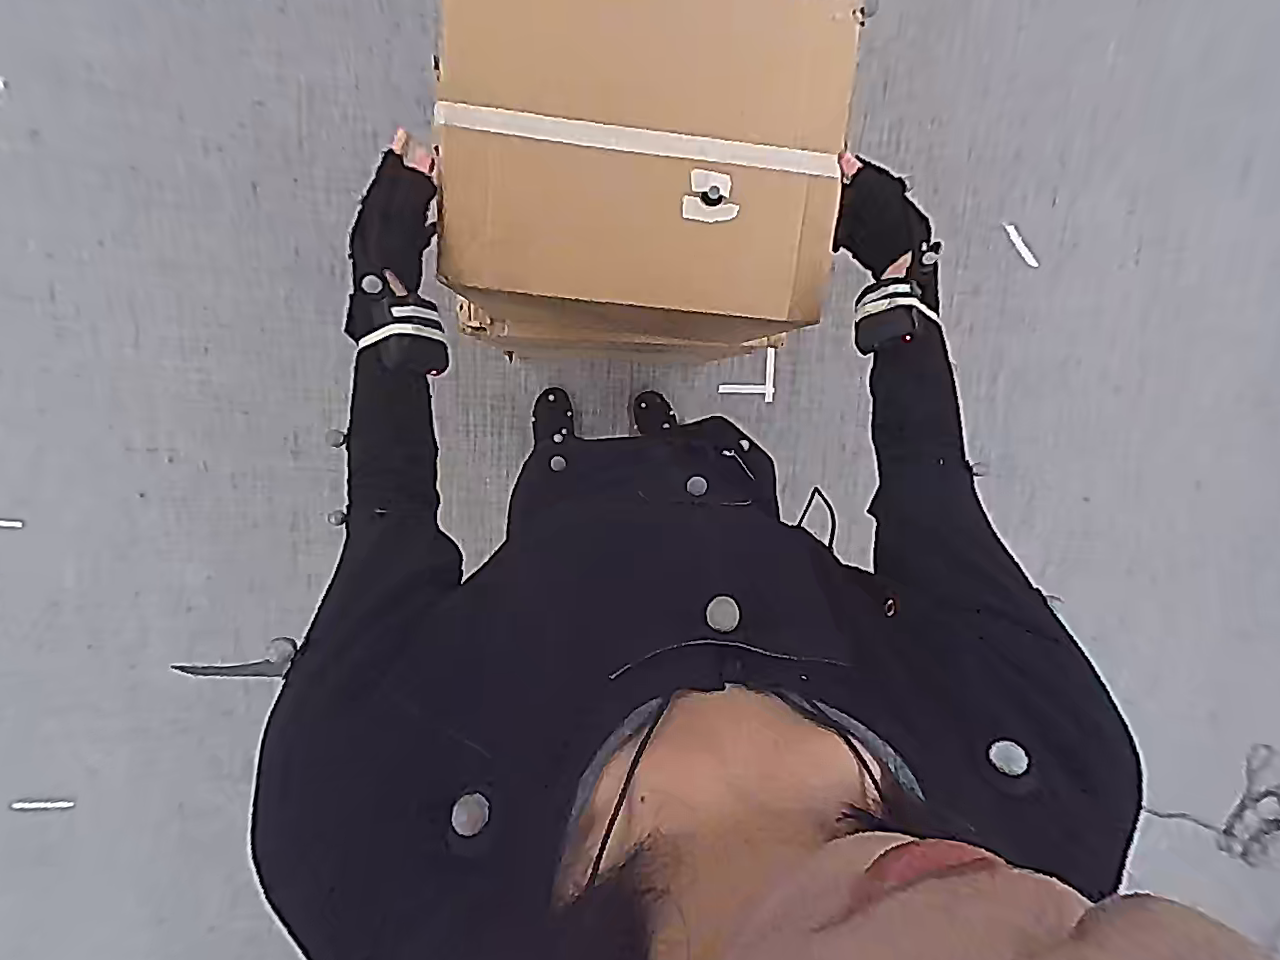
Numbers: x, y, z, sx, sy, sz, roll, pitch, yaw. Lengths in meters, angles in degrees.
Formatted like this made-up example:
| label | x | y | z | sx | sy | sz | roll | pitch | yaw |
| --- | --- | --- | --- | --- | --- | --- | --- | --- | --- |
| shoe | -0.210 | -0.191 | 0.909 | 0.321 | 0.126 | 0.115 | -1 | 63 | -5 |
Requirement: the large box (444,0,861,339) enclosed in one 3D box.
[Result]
| label | x | y | z | sx | sy | sz | roll | pitch | yaw |
| --- | --- | --- | --- | --- | --- | --- | --- | --- | --- |
| large box | -0.006 | -0.360 | 0.677 | 0.408 | 0.320 | 0.320 | 3 | 100 | -7 |
